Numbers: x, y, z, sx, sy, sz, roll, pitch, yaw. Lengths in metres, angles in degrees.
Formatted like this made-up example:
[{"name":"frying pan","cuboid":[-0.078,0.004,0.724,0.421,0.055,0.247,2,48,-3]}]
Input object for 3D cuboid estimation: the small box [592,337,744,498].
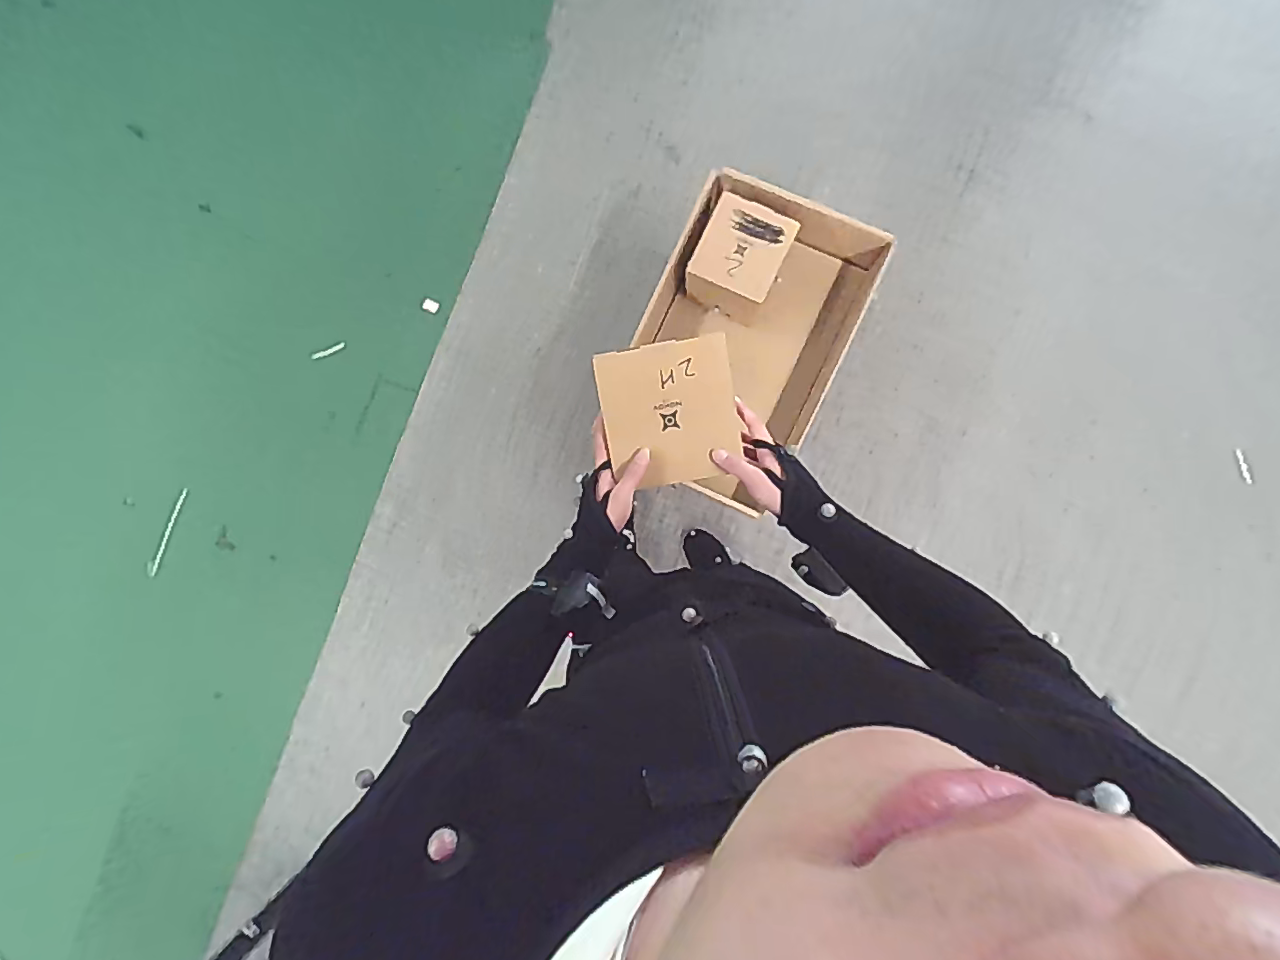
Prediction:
[{"name":"small box","cuboid":[0.038,-0.083,0.736,0.168,0.176,0.179,-10,95,2]}]
